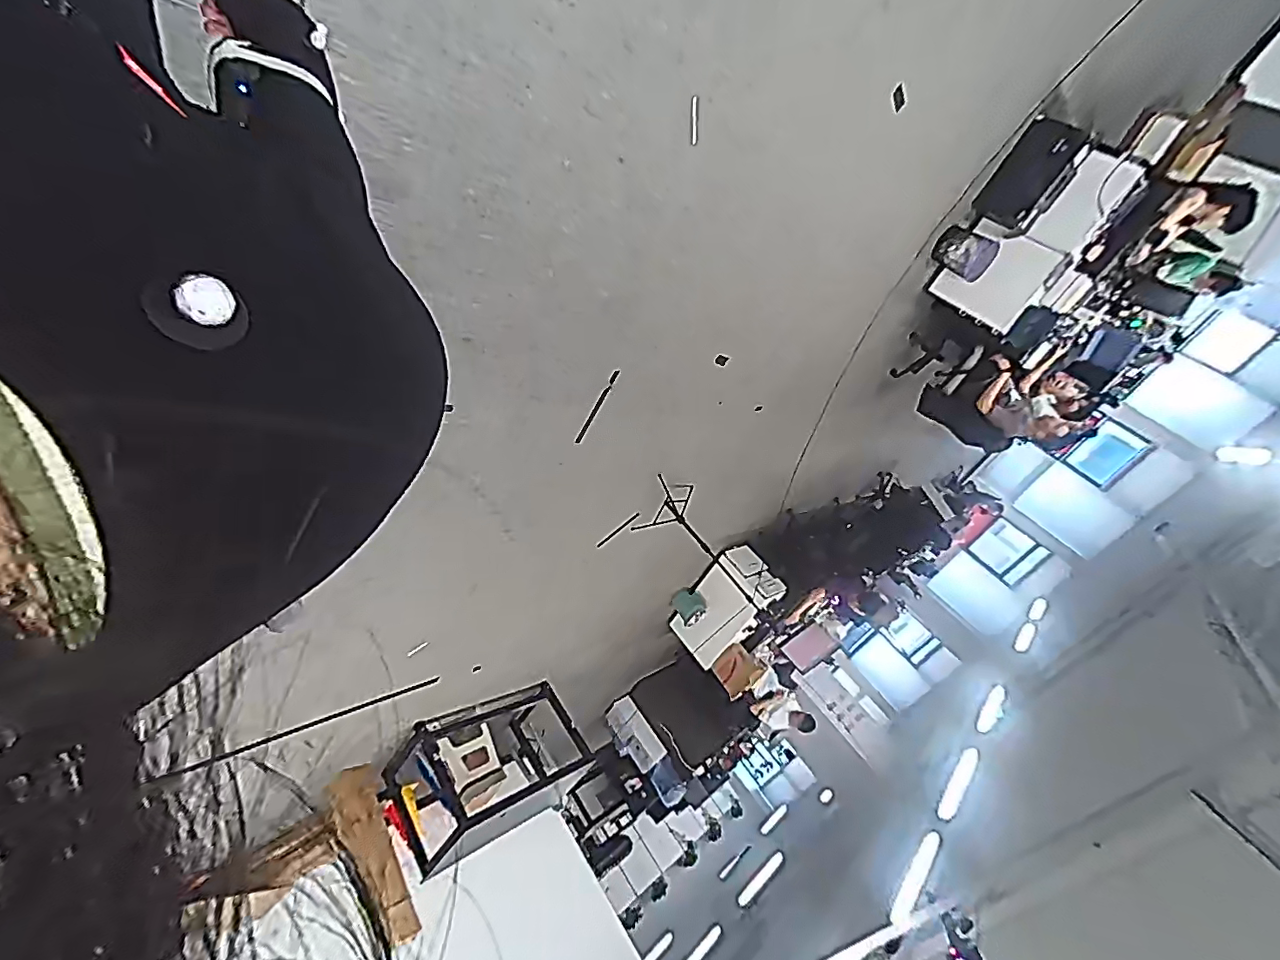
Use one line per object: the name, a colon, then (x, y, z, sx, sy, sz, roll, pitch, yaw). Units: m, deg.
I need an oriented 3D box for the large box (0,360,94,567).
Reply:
large box: (-1.362, -0.041, 1.026, 0.408, 0.320, 0.320, 4, 127, -54)
